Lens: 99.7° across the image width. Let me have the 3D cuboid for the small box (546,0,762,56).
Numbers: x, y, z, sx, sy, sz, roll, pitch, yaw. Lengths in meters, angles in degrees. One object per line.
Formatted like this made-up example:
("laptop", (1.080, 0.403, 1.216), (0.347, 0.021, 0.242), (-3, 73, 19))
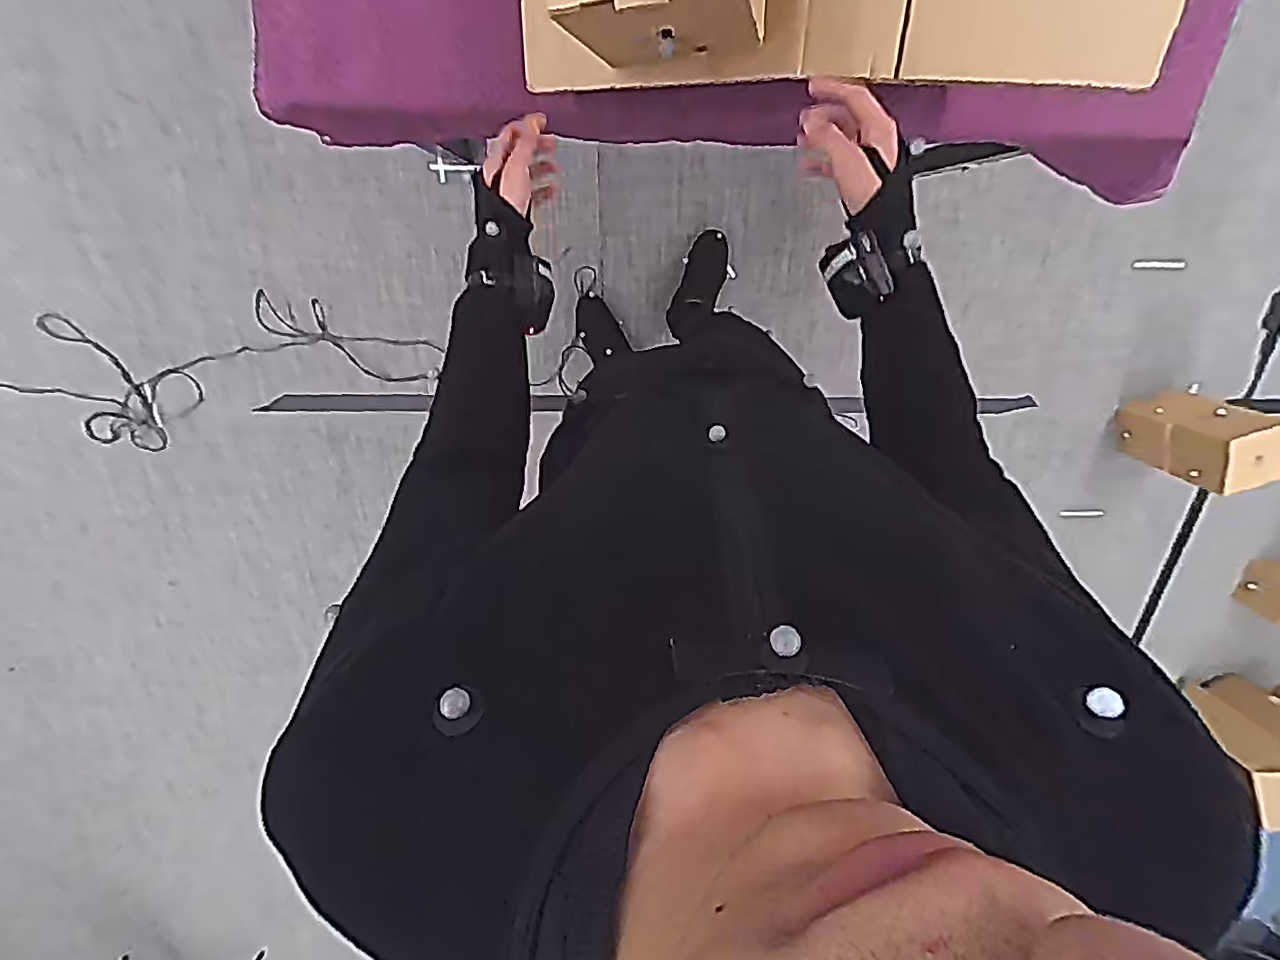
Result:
("small box", (0.018, -0.493, 0.464), (0.168, 0.176, 0.179), (4, 115, 15))
